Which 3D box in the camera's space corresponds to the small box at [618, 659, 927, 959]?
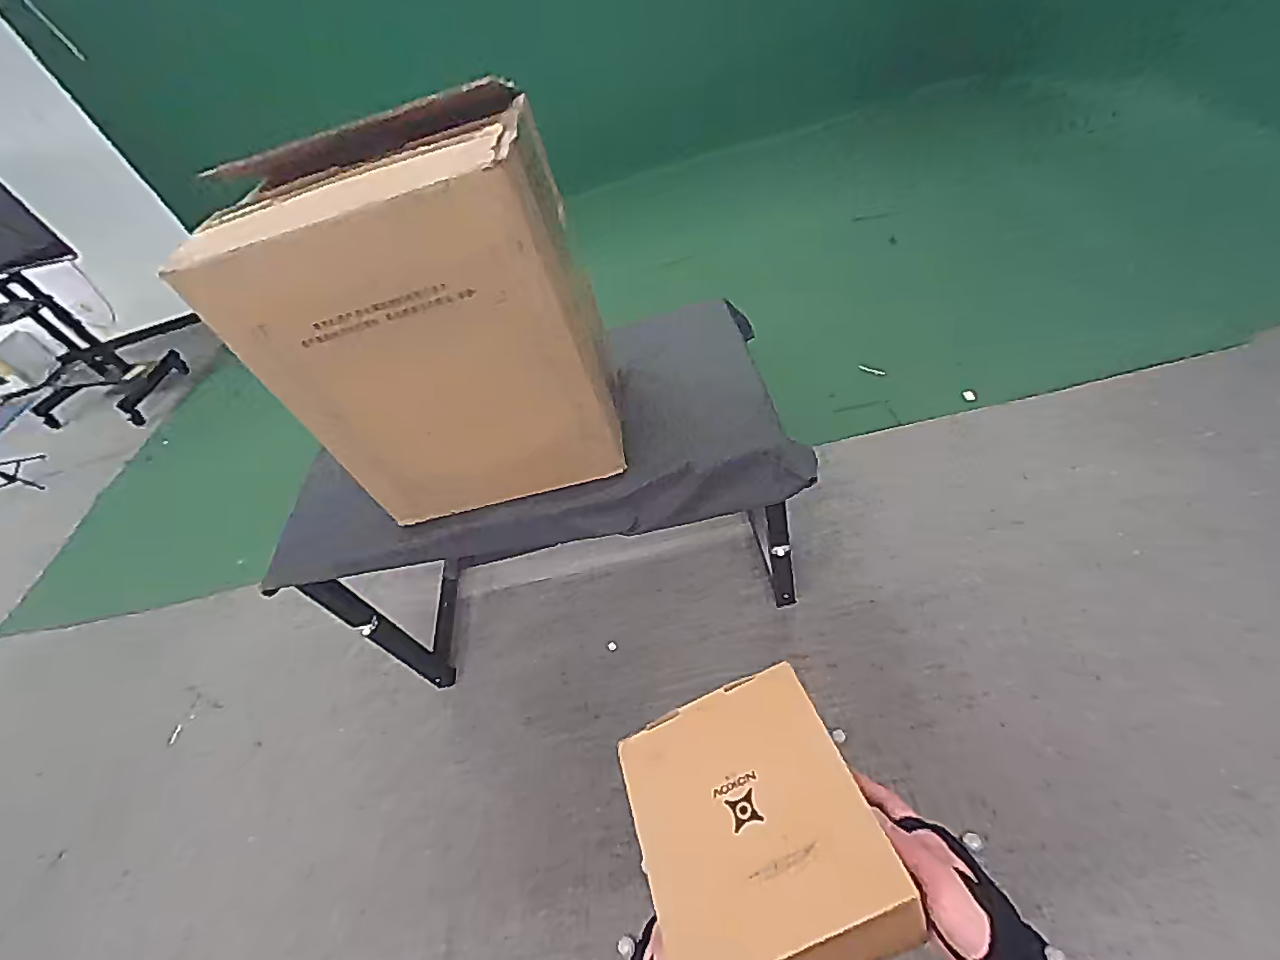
[{"bbox_3d":[0.105,0.291,0.445,0.168,0.176,0.179,-29,38,1],"label":"small box"}]
